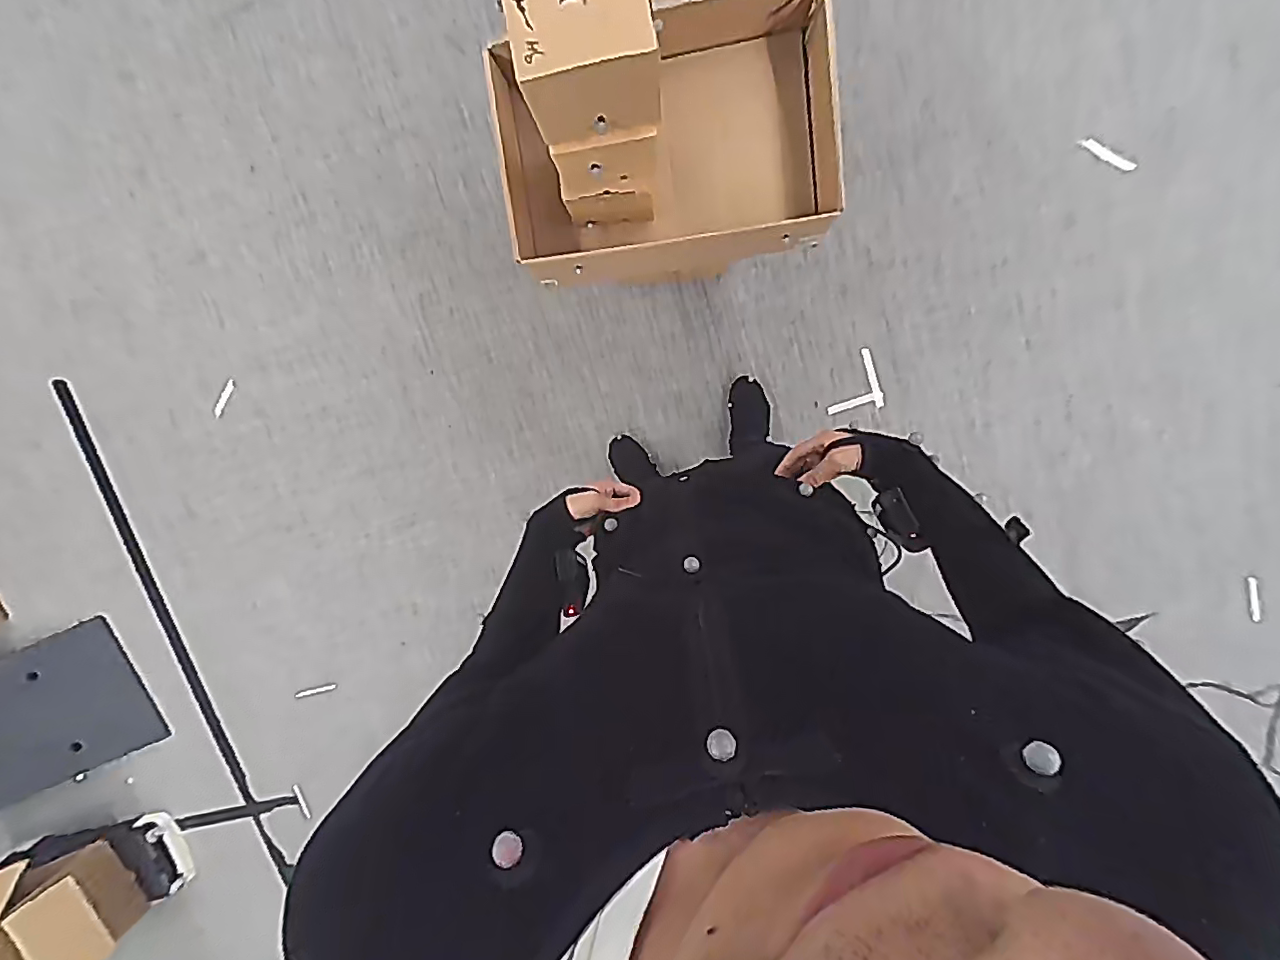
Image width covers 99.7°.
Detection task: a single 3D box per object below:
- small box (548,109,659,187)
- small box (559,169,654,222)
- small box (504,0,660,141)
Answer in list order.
[{"bbox_3d":[-0.062,-0.596,0.872,0.168,0.176,0.179,-8,98,4],"label":"small box"},{"bbox_3d":[-0.061,-0.609,1.035,0.168,0.176,0.179,-4,98,4],"label":"small box"},{"bbox_3d":[-0.071,-0.581,0.709,0.179,0.176,0.168,-9,97,4],"label":"small box"}]
